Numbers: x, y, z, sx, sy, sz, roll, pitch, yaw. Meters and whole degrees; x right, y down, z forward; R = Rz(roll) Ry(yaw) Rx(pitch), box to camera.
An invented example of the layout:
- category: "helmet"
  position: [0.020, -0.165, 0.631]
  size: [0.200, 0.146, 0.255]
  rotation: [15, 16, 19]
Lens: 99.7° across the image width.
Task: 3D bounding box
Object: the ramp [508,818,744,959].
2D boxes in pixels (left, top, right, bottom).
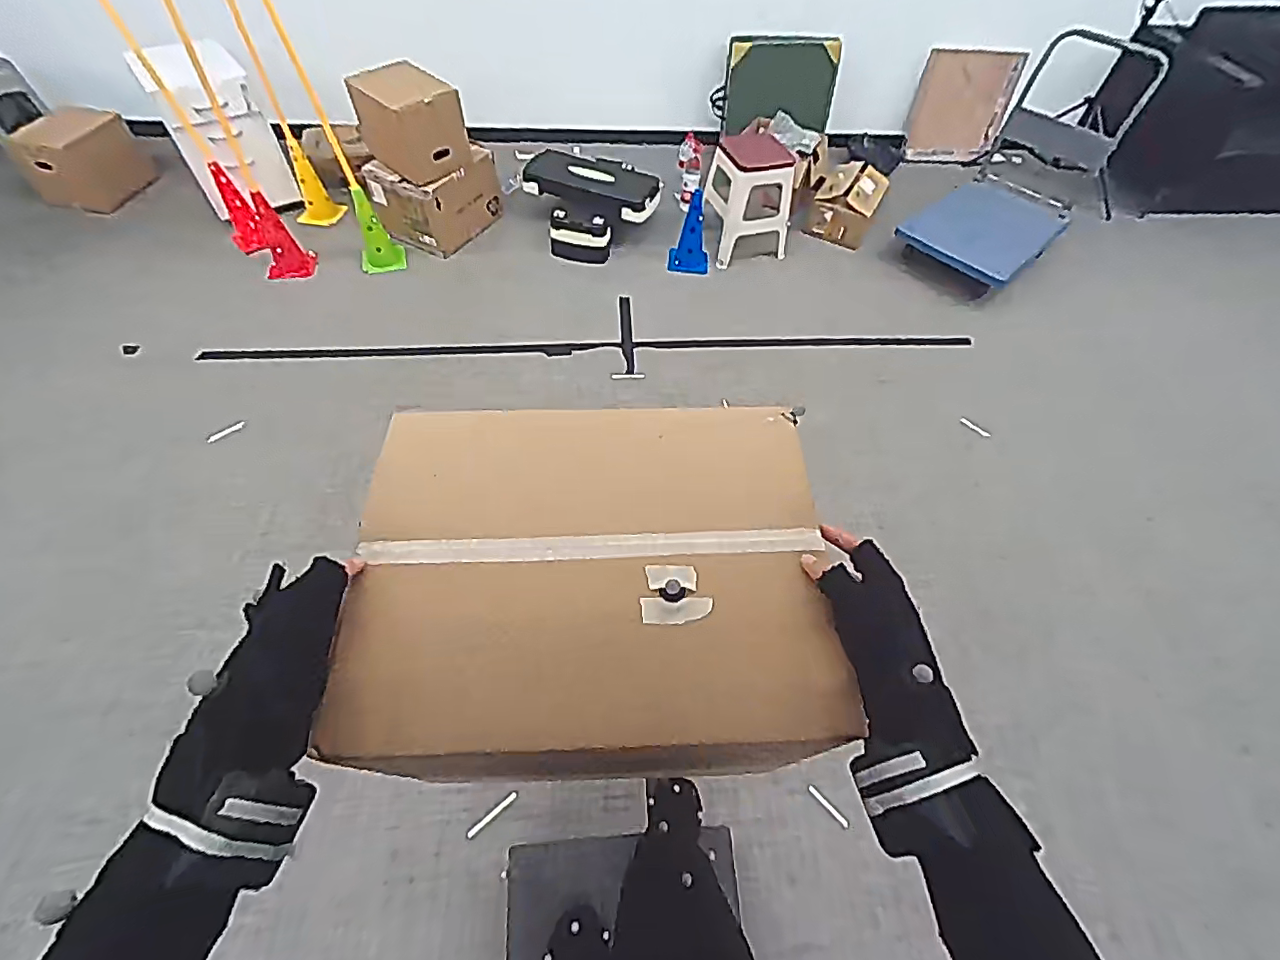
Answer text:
- category: "ramp"
  position: [-0.007, 1.226, 1.005]
  size: [0.509, 0.206, 0.991]
  rotation: [-3, 55, -6]

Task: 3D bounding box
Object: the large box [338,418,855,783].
- category: "large box"
  position: [-0.041, 0.147, 0.614]
  size: [0.408, 0.320, 0.320]
  rotation: [-1, 58, -2]
